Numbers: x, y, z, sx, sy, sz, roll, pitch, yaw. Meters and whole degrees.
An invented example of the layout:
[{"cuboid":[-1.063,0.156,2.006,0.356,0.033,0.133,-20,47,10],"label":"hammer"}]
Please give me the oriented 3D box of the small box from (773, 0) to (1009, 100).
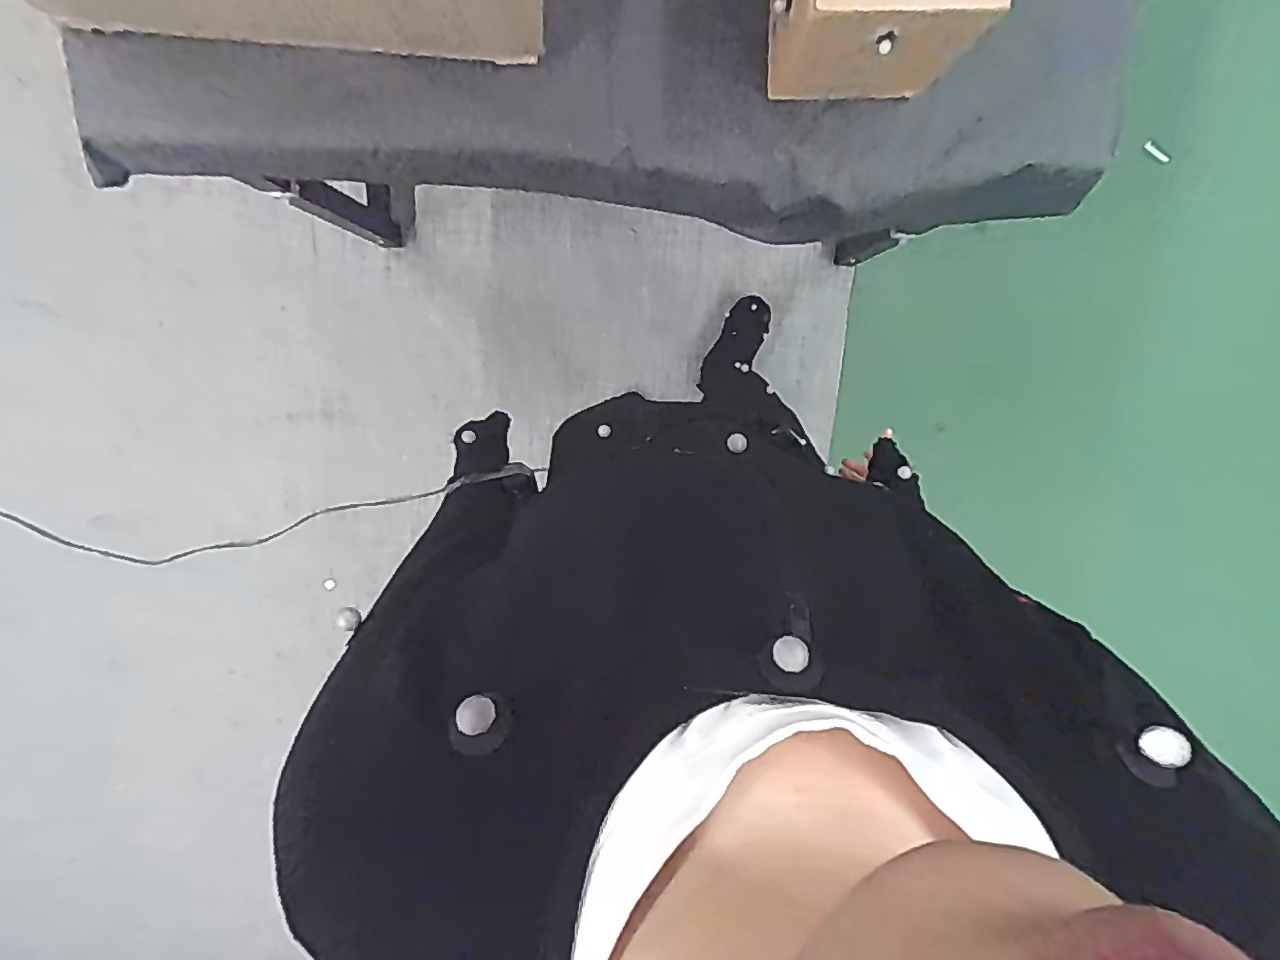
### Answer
[{"cuboid":[0.240,-0.510,0.543,0.179,0.176,0.168,-1,103,-1],"label":"small box"}]
